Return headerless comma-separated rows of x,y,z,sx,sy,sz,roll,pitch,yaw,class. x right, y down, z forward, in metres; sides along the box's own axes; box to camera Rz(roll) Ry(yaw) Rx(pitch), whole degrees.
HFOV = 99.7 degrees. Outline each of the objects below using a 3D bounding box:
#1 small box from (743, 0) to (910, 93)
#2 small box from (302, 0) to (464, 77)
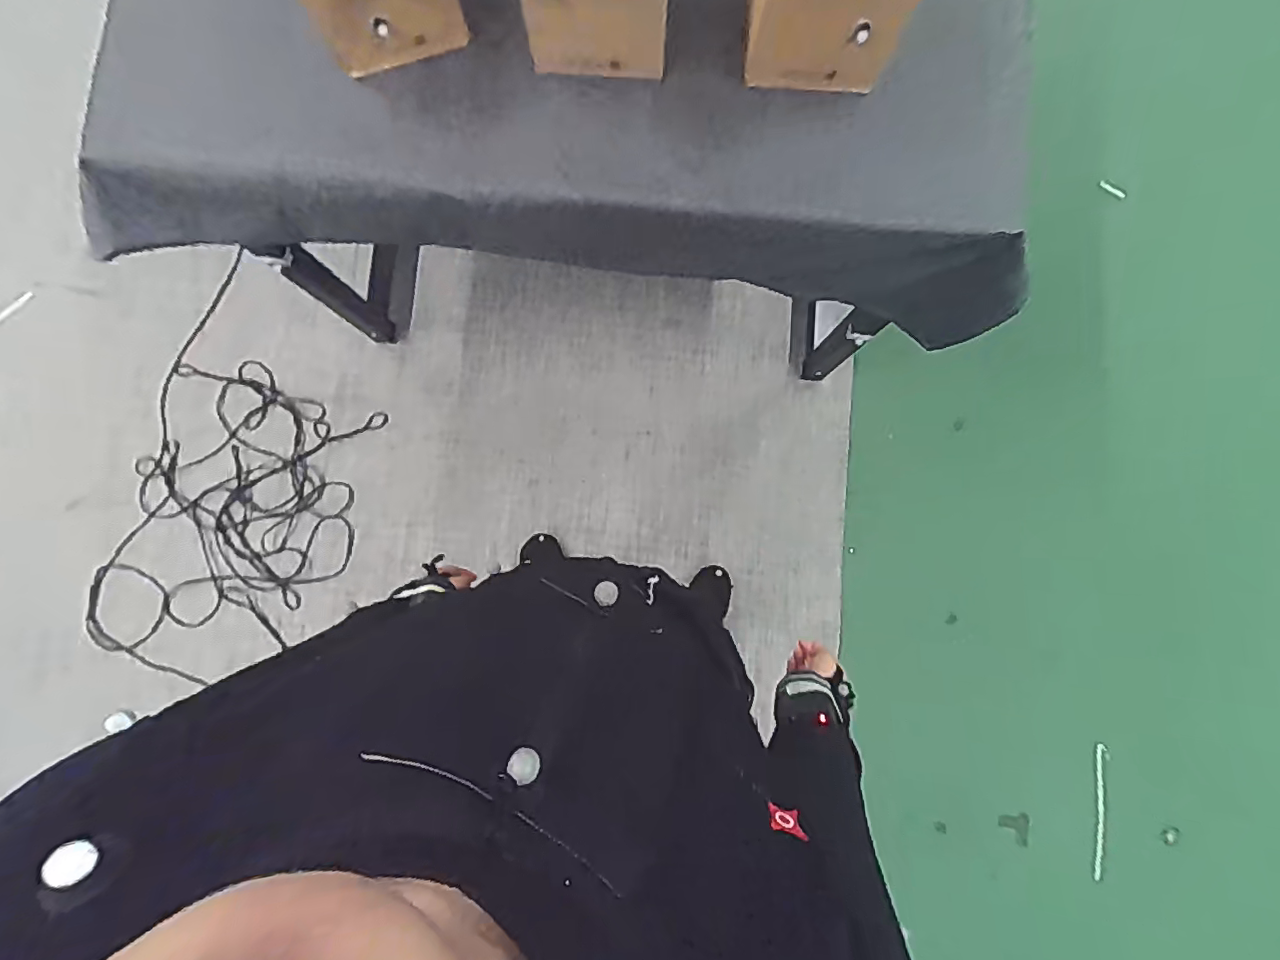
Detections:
0.220,-0.596,0.632,0.168,0.176,0.179,3,83,-1,small box
-0.327,-0.630,0.630,0.168,0.176,0.179,-19,85,-3,small box
